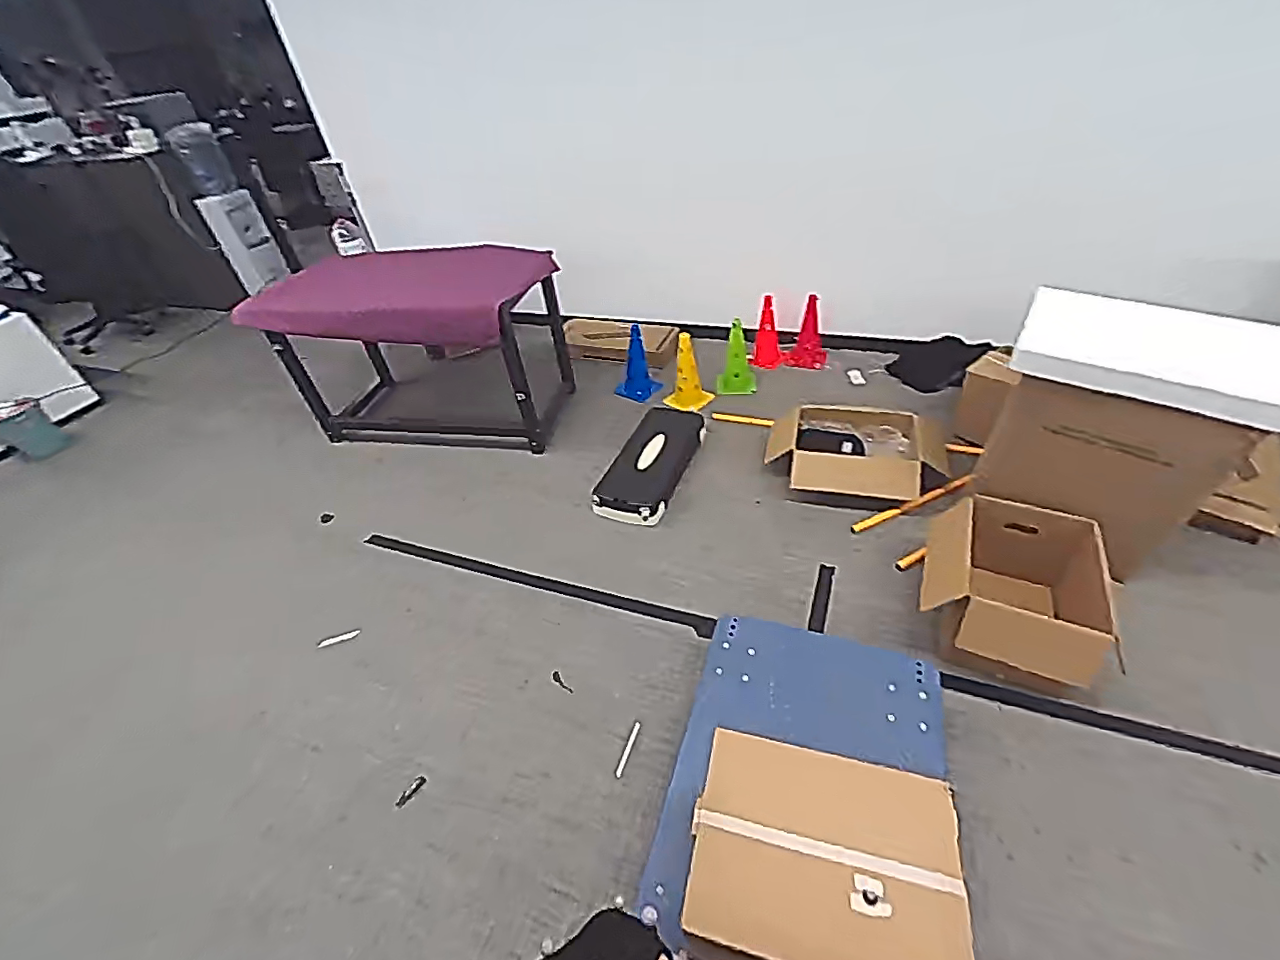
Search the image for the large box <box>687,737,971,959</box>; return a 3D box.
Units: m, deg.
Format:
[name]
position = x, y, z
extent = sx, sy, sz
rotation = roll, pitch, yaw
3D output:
[large box]
position = 0.306, 0.717, 0.960
extent = 0.408, 0.320, 0.320
rotation = 8, 43, 14
